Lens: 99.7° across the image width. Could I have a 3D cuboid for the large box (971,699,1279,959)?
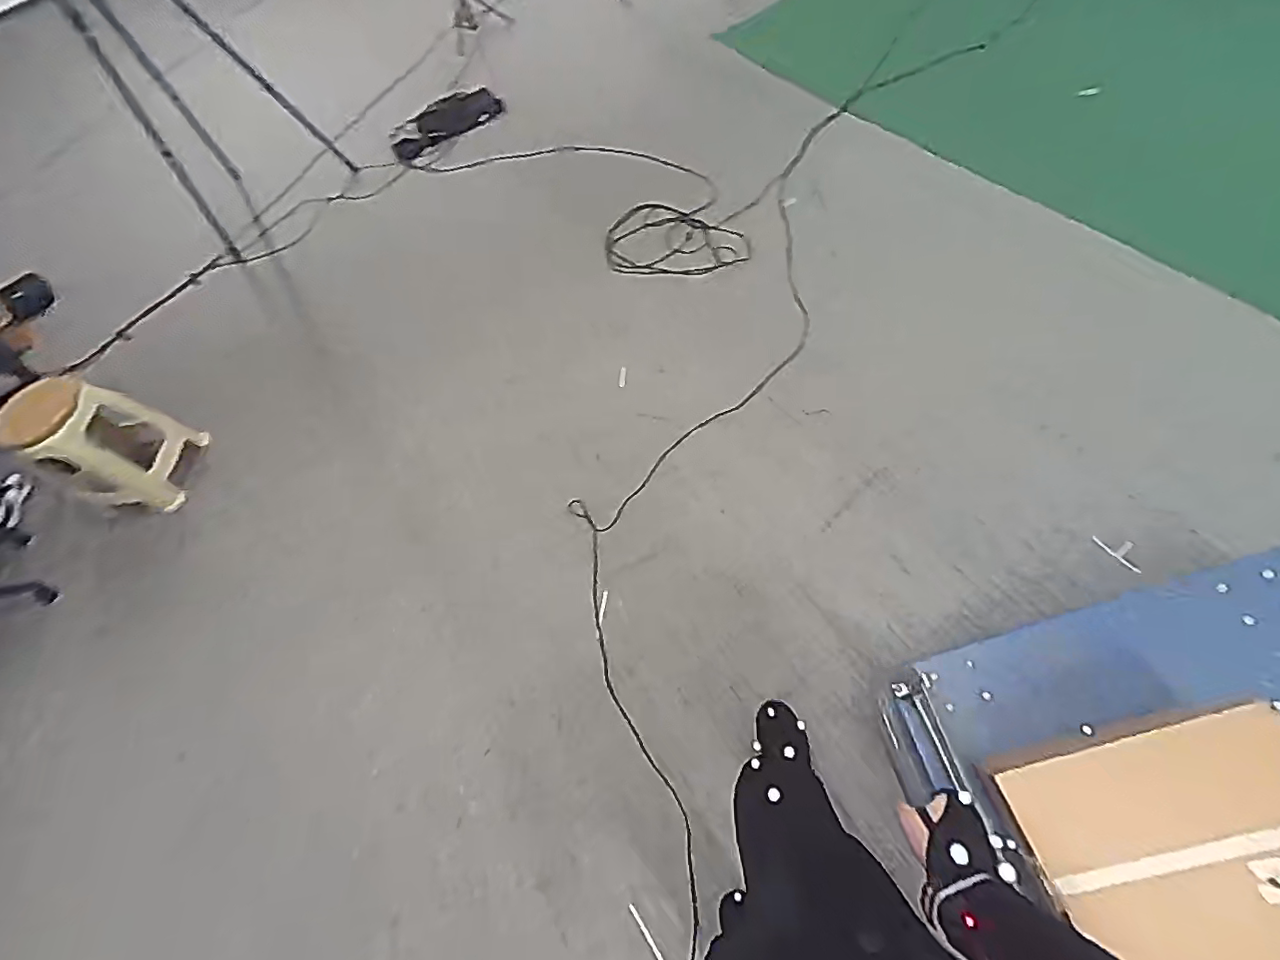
[{"bbox_3d":[0.860,0.598,0.914,0.408,0.320,0.320,-25,60,13],"label":"large box"}]
